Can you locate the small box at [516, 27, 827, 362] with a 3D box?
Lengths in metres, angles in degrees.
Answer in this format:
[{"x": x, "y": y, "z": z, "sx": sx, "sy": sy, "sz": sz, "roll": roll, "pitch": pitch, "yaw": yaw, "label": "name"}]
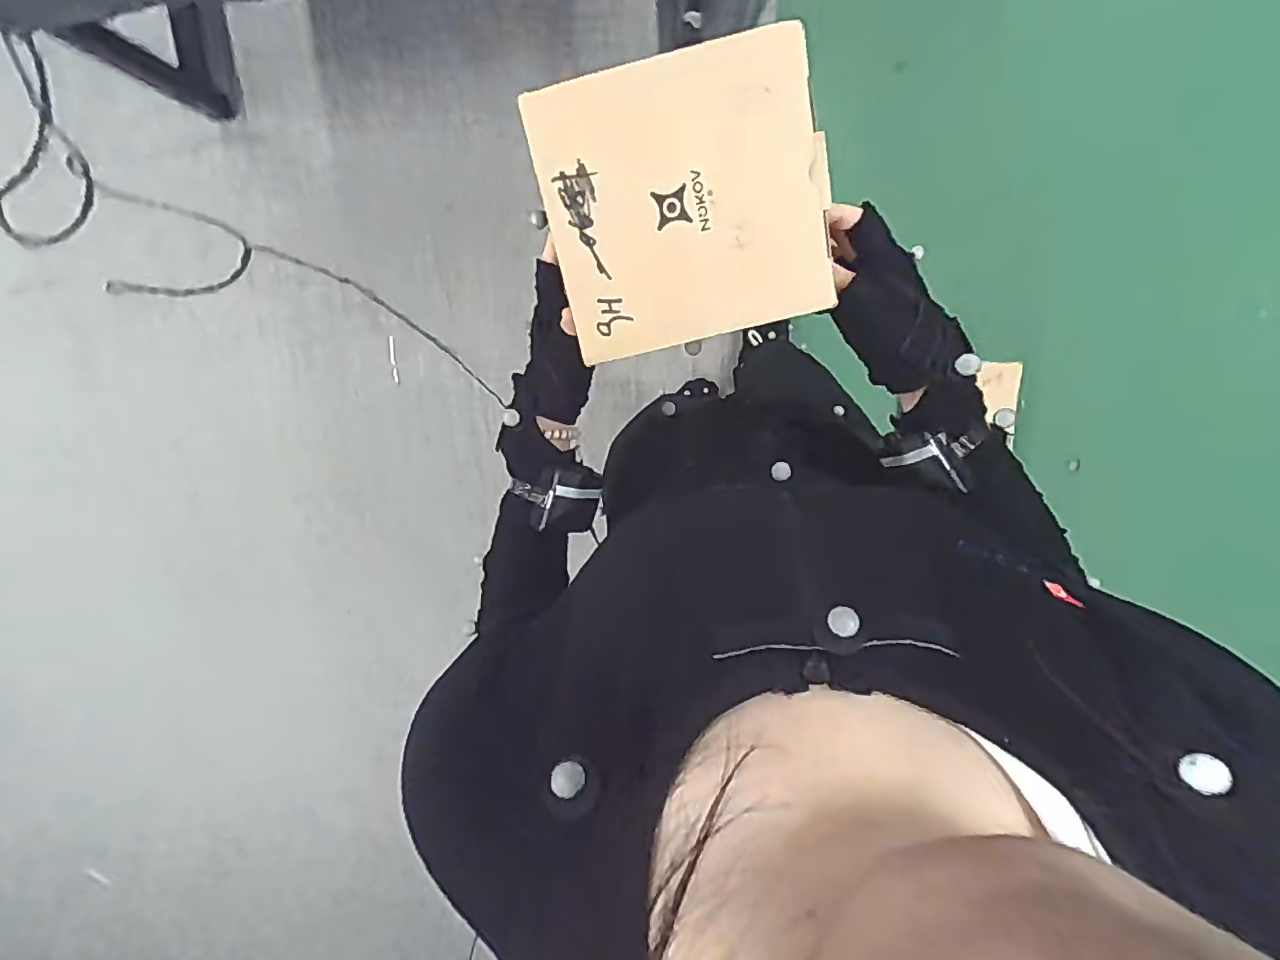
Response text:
[{"x": 0.022, "y": -0.197, "z": 0.422, "sx": 0.179, "sy": 0.176, "sz": 0.168, "roll": -13, "pitch": 105, "yaw": 3, "label": "small box"}]
